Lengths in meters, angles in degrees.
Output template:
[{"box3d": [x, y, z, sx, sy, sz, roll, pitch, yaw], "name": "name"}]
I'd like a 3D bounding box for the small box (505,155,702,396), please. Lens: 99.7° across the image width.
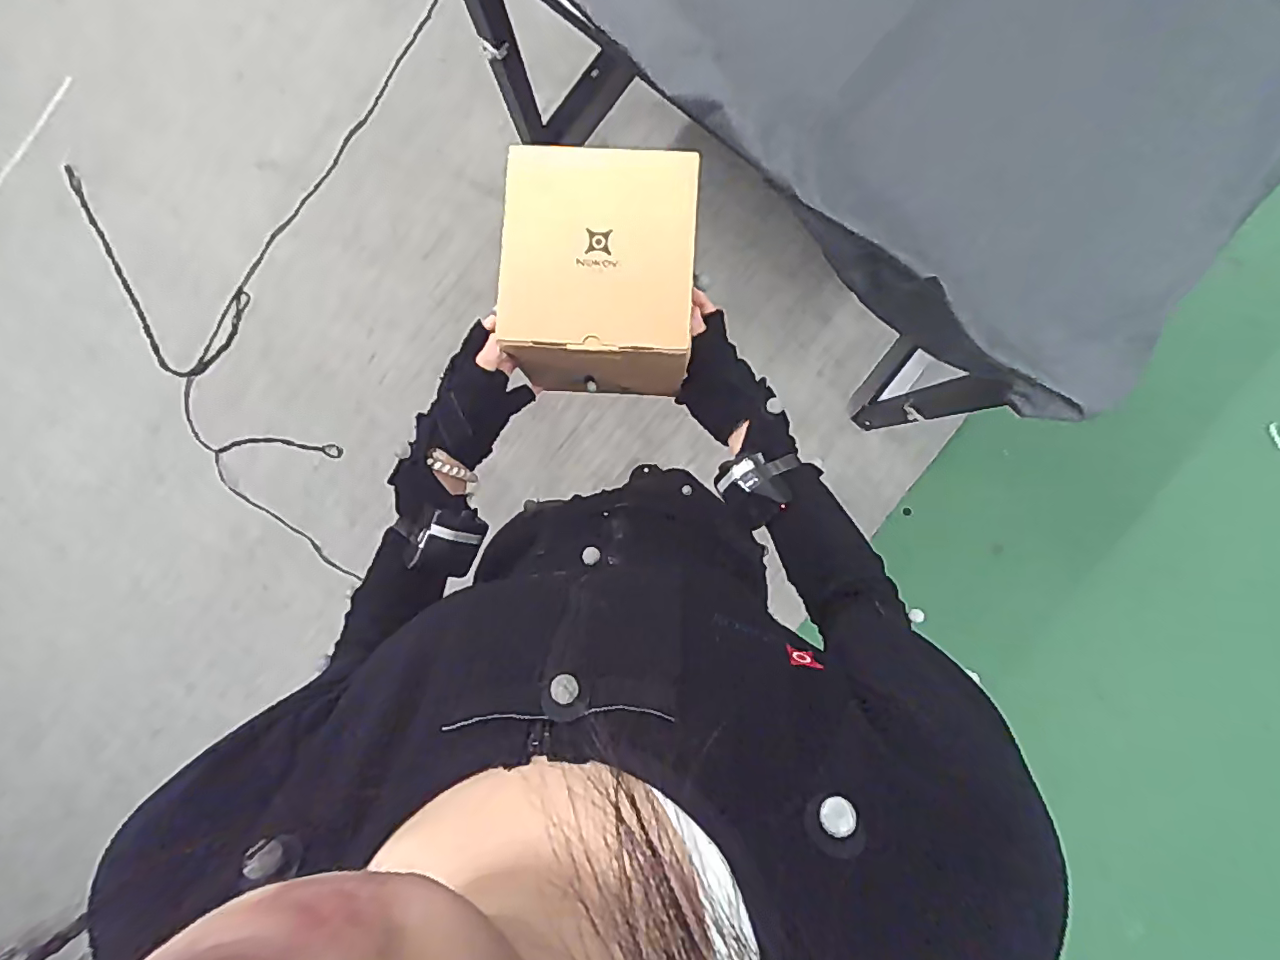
[{"box3d": [-0.032, -0.194, 0.555, 0.168, 0.176, 0.179, 3, 88, 1], "name": "small box"}]
